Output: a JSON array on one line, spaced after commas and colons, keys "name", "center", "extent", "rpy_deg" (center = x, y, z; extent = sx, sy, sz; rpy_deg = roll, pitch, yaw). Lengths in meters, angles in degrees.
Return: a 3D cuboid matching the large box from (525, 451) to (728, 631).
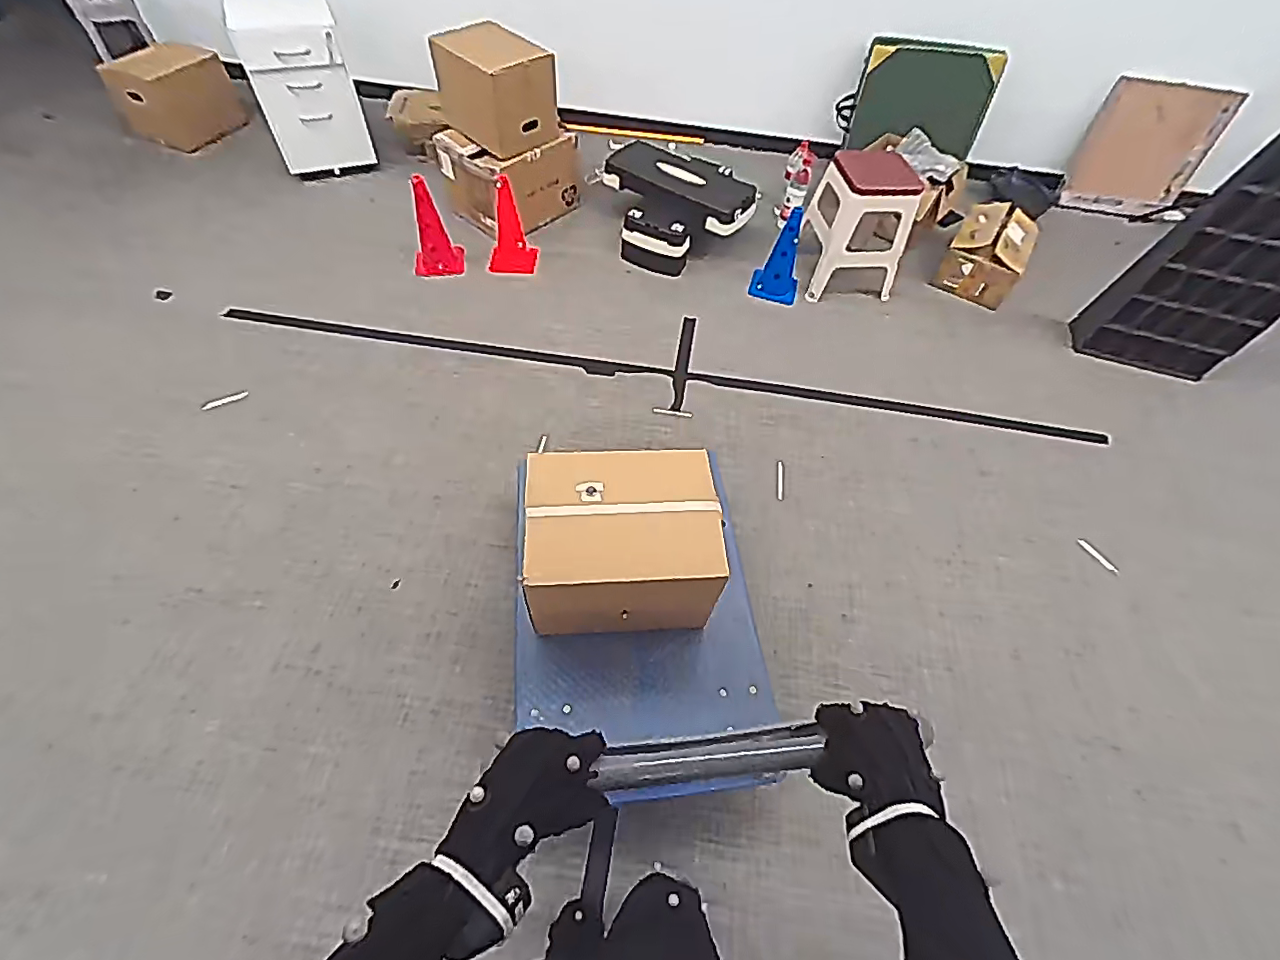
[{"name": "large box", "center": [-0.041, 0.149, 1.253], "extent": [0.408, 0.320, 0.320], "rpy_deg": [-1, 57, -5]}]
